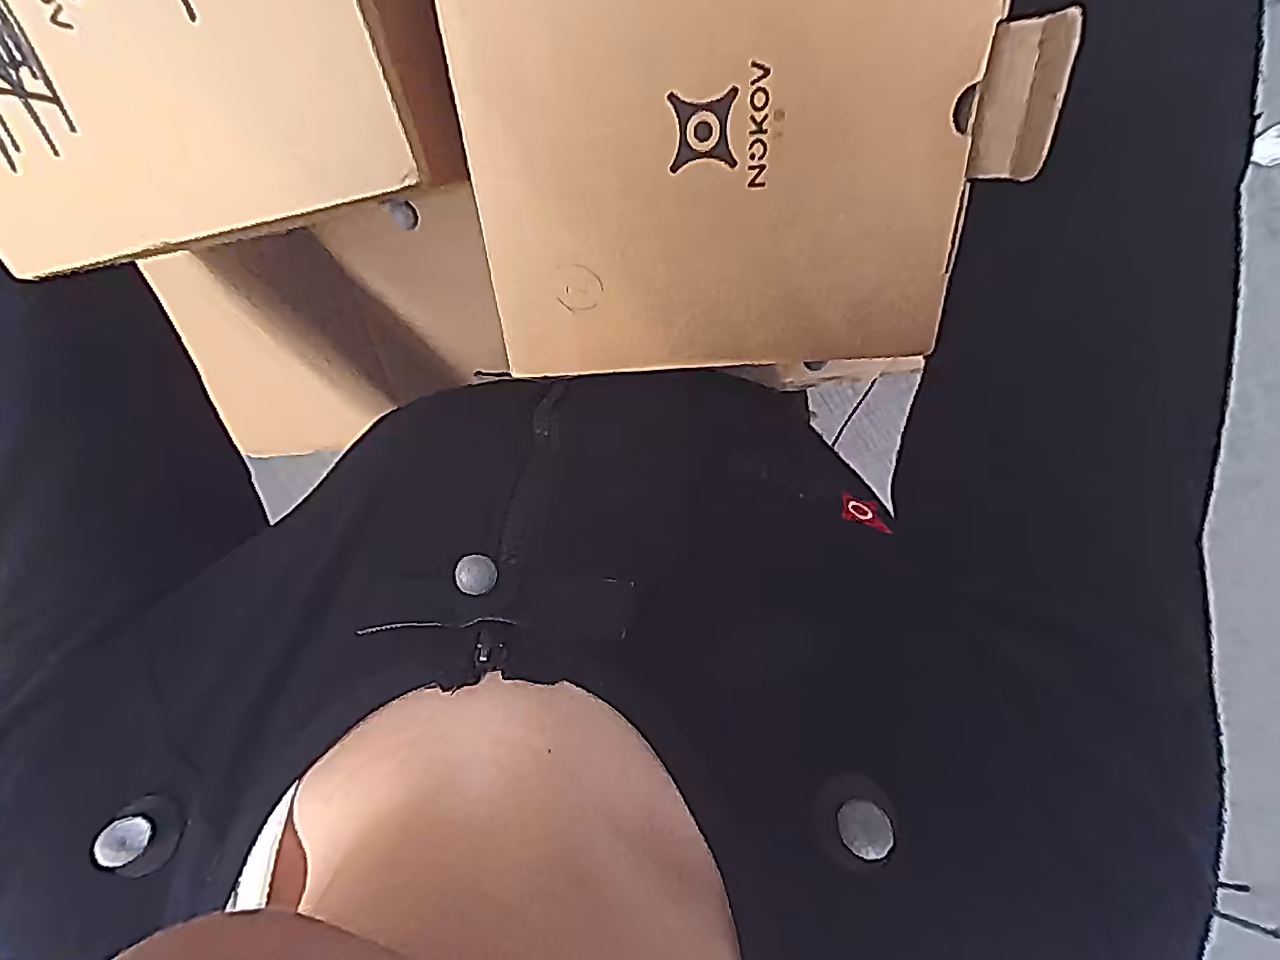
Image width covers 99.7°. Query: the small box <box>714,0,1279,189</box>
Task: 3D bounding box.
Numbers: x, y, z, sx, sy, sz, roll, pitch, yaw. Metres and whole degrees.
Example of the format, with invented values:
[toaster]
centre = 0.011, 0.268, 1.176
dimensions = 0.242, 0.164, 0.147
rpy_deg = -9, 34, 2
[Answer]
[small box]
centre = 0.132, -0.220, 0.192
dimensions = 0.179, 0.176, 0.168
rpy_deg = 9, 127, -3
